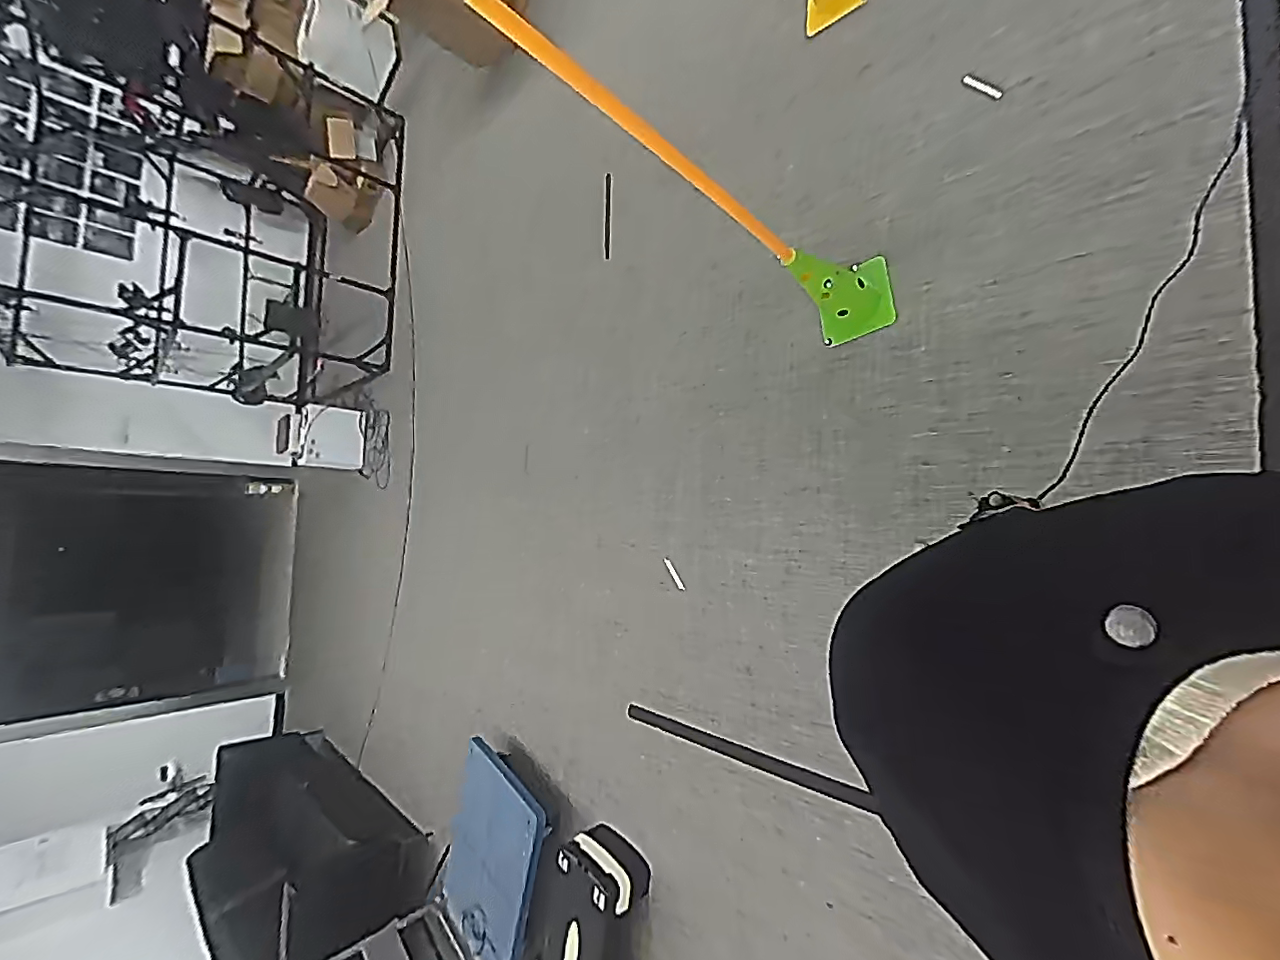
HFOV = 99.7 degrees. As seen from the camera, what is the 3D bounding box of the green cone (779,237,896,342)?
[{"bbox_3d":[0.468,-0.517,1.363,0.200,0.368,0.202,-17,72,43],"label":"green cone"}]
